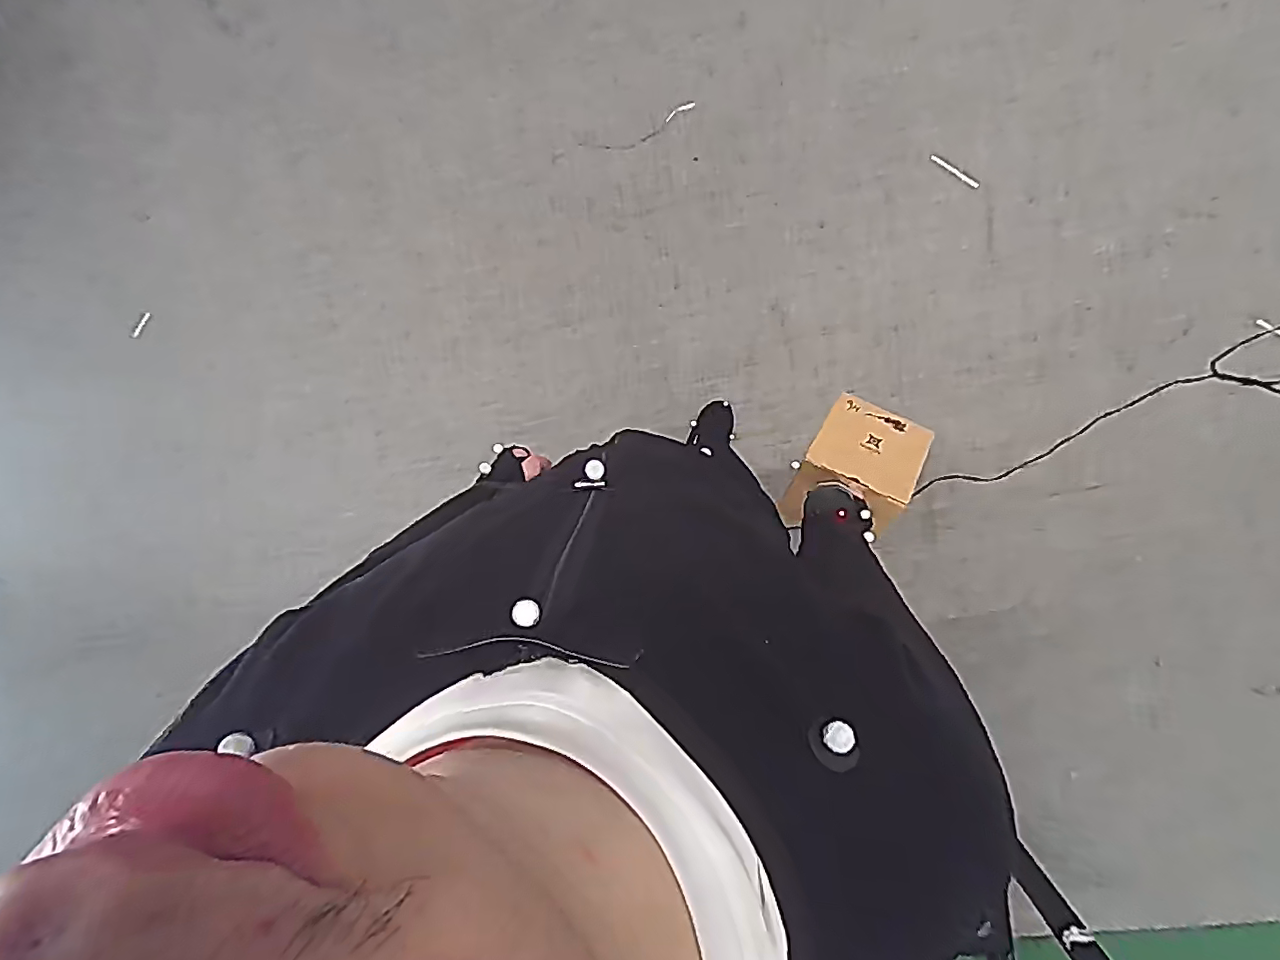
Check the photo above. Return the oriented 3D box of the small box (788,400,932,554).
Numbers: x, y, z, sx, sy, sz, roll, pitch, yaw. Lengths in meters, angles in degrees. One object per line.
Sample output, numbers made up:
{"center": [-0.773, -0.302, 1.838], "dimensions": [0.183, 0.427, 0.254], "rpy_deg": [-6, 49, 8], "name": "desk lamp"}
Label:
{"center": [0.371, -0.001, 0.937], "dimensions": [0.168, 0.176, 0.179], "rpy_deg": [24, 56, 16], "name": "small box"}
